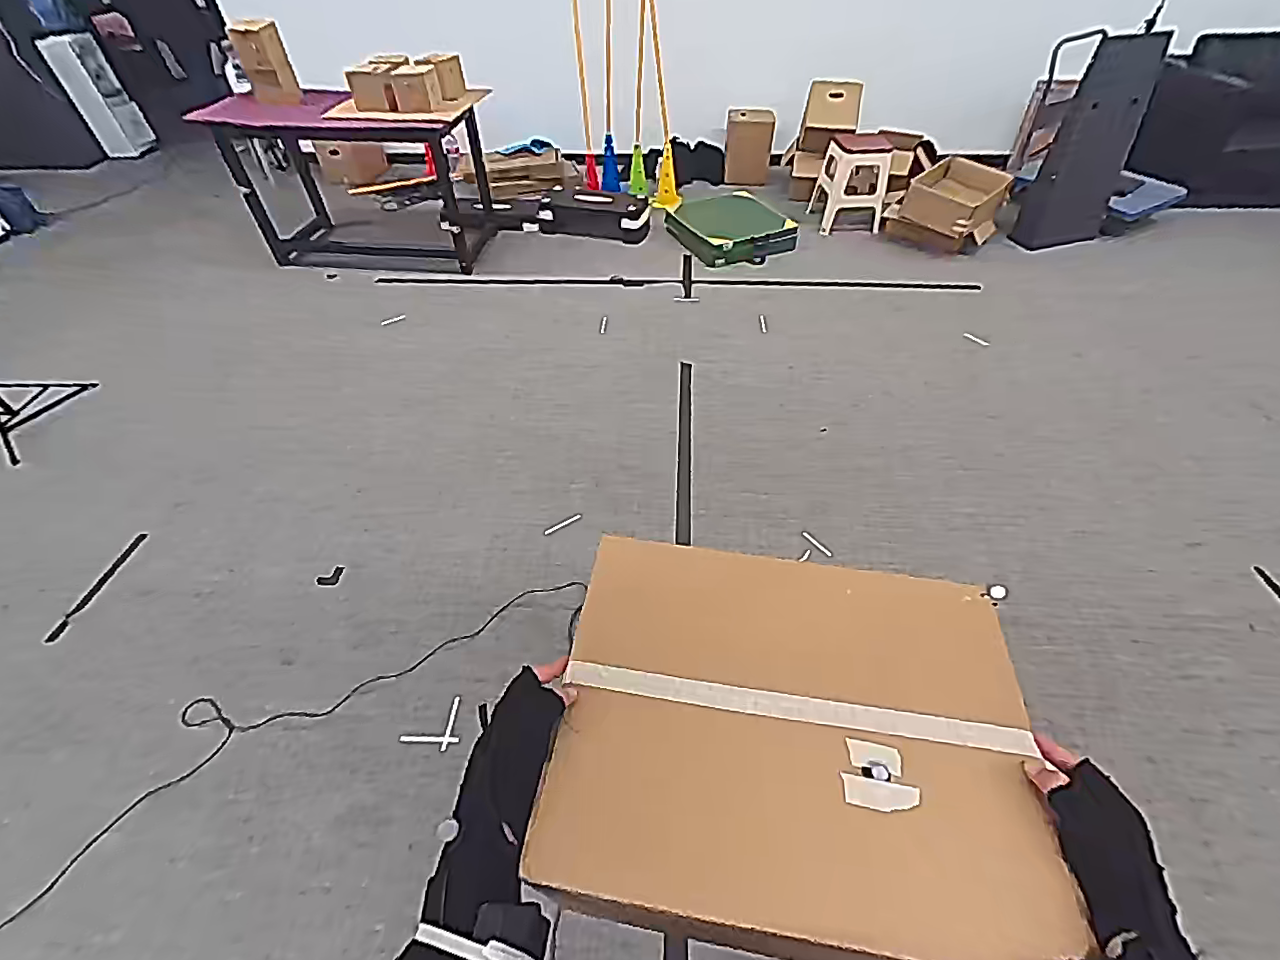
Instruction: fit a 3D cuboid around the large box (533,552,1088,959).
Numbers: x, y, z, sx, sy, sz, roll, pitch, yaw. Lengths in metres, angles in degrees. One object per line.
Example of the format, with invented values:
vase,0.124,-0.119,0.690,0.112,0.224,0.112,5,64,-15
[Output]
large box,0.133,0.312,0.592,0.408,0.320,0.320,7,50,6
